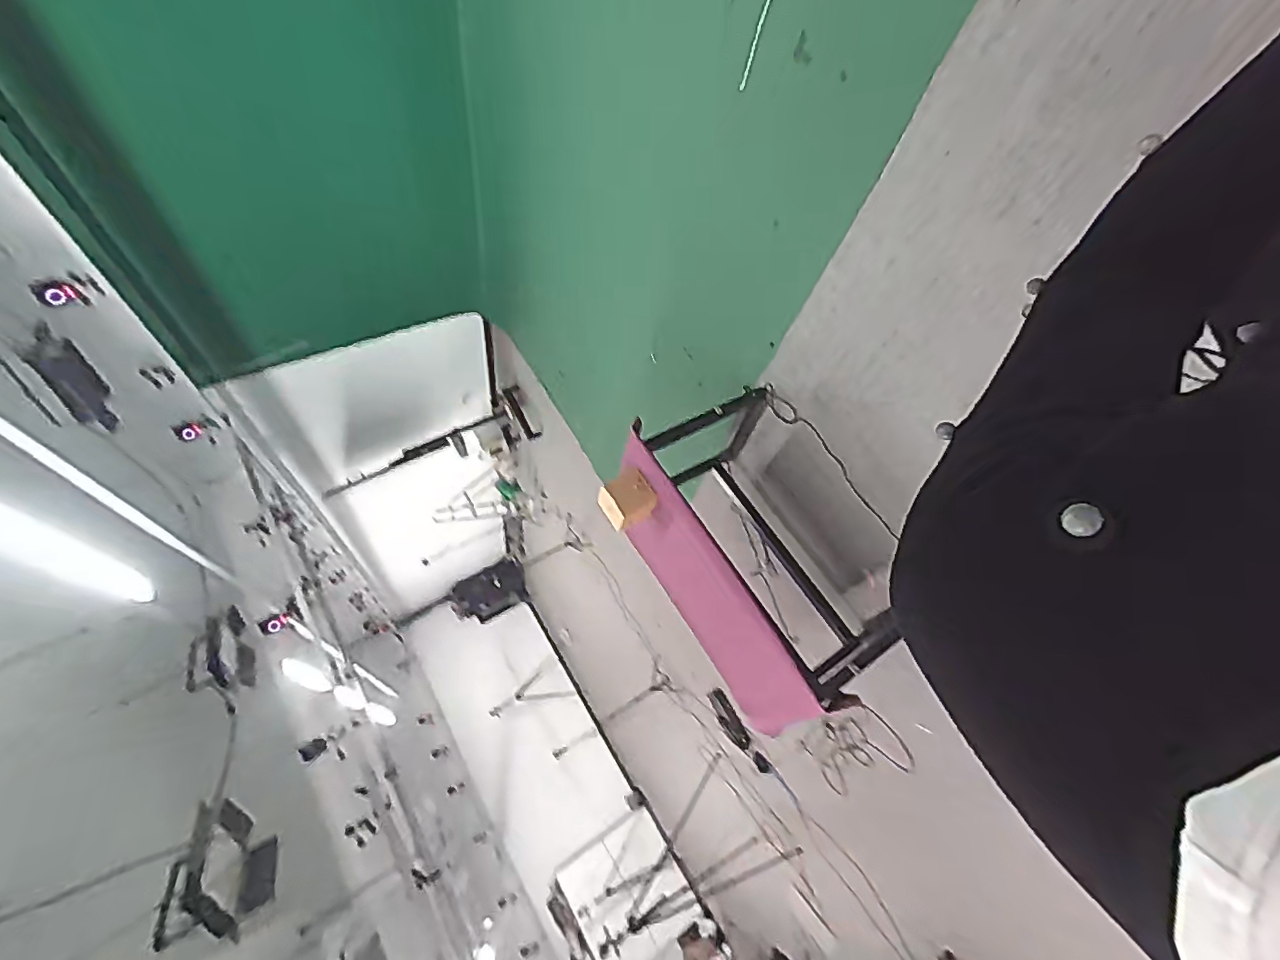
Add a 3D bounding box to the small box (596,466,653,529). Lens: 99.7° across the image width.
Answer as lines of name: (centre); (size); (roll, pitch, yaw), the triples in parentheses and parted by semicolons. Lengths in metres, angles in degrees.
small box: (-0.063, 0.072, 2.232); (0.168, 0.176, 0.179); (55, 156, 16)
